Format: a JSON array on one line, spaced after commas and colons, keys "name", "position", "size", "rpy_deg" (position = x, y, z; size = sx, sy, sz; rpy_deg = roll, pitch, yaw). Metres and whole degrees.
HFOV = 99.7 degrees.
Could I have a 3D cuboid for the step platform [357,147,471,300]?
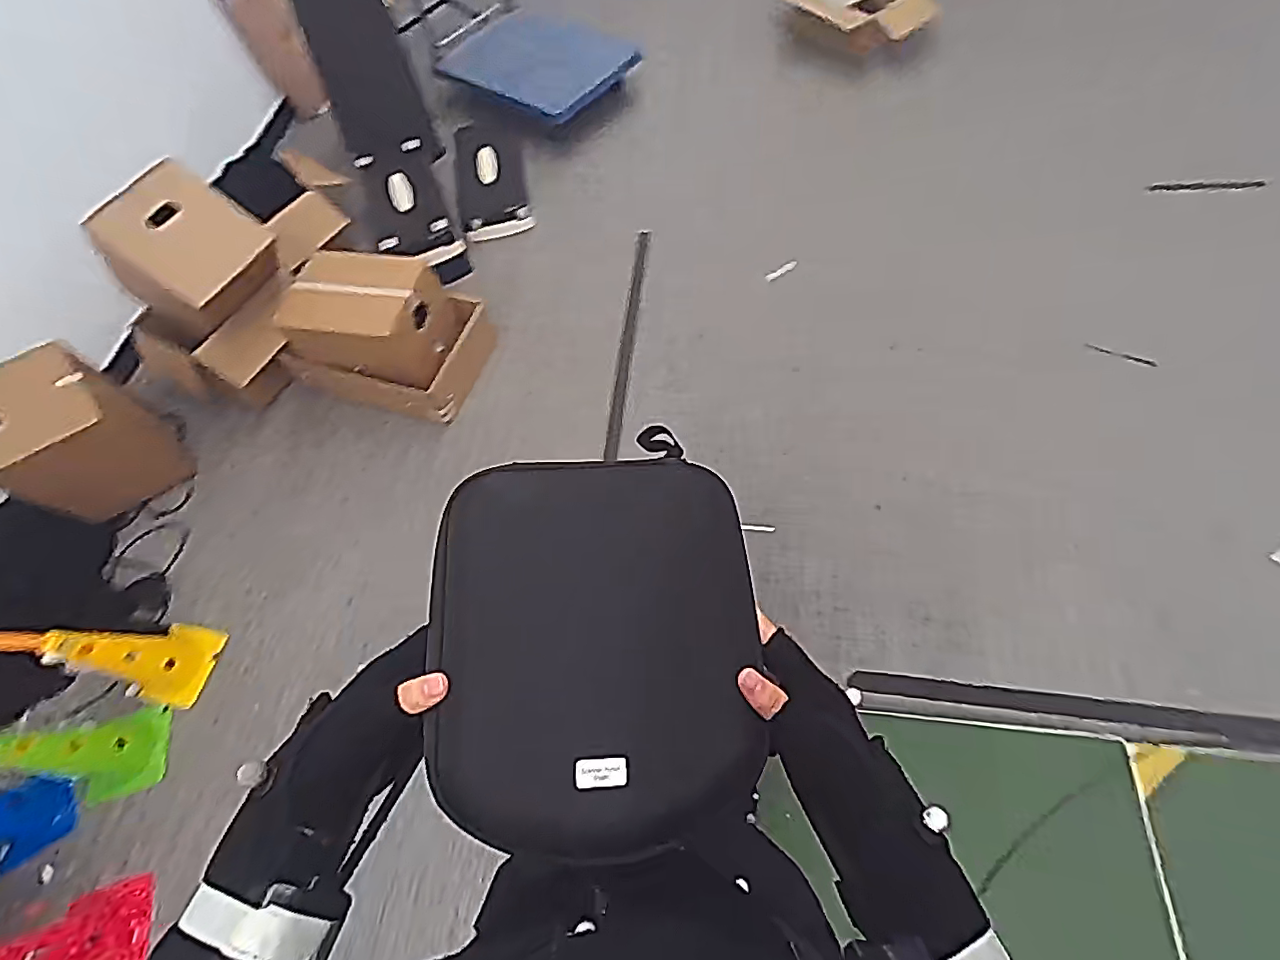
[{"name": "step platform", "position": [-0.916, -1.048, 2.170], "size": [0.286, 0.204, 0.684], "rpy_deg": [-23, 64, -6]}]
